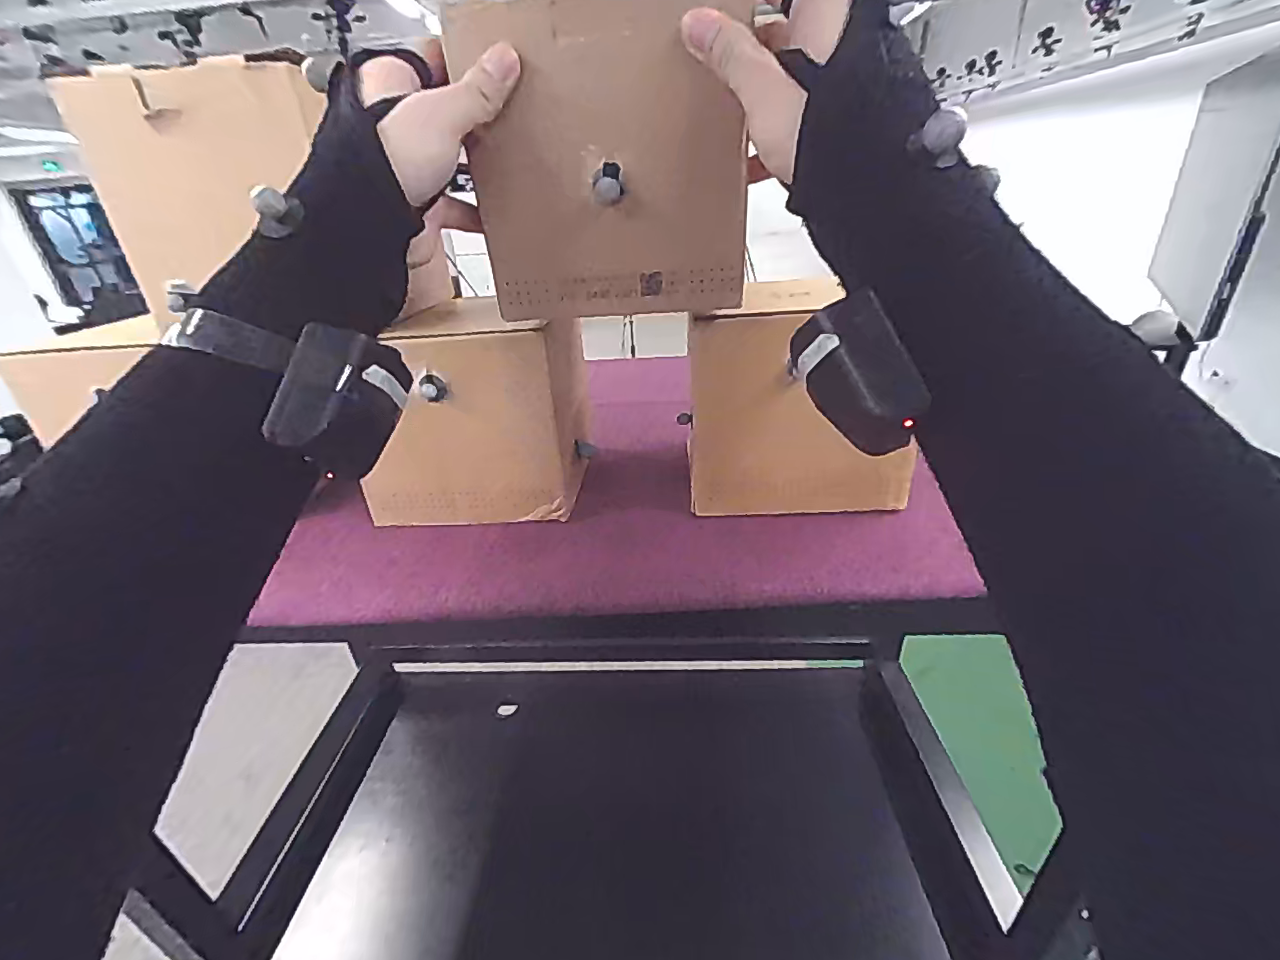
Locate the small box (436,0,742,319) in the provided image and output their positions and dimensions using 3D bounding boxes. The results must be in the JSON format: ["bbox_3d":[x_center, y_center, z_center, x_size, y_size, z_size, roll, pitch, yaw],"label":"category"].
[{"bbox_3d":[-0.015,-0.222,0.390,0.168,0.176,0.179,-2,36,6],"label":"small box"}]

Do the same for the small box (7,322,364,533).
[{"bbox_3d":[-0.412,-0.059,0.531,0.179,0.176,0.168,-3,29,3],"label":"small box"}]

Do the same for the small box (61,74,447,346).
[{"bbox_3d":[-0.281,-0.211,0.449,0.168,0.176,0.179,-1,27,6],"label":"small box"}]

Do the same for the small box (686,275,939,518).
[{"bbox_3d":[0.133,-0.078,0.486,0.179,0.176,0.168,-4,27,5],"label":"small box"}]

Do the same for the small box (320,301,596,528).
[{"bbox_3d":[-0.145,-0.065,0.504,0.179,0.176,0.168,-2,28,5],"label":"small box"}]
